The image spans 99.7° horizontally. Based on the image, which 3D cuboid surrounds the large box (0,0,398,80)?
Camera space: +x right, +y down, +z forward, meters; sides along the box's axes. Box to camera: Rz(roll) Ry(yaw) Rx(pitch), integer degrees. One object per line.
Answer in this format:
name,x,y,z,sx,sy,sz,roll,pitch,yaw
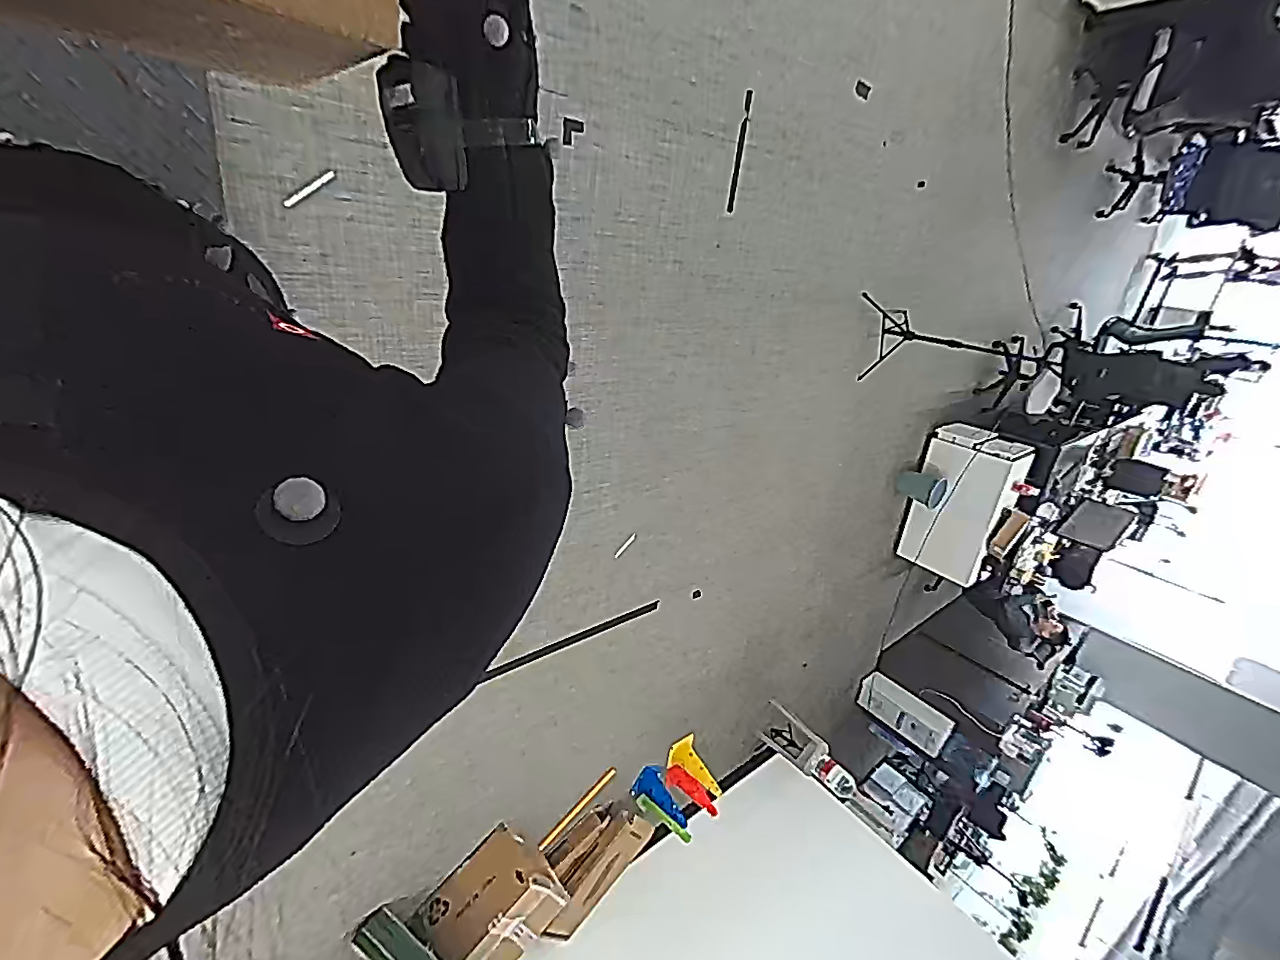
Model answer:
large box,-0.356,-0.399,0.207,0.408,0.320,0.320,-12,124,-37
